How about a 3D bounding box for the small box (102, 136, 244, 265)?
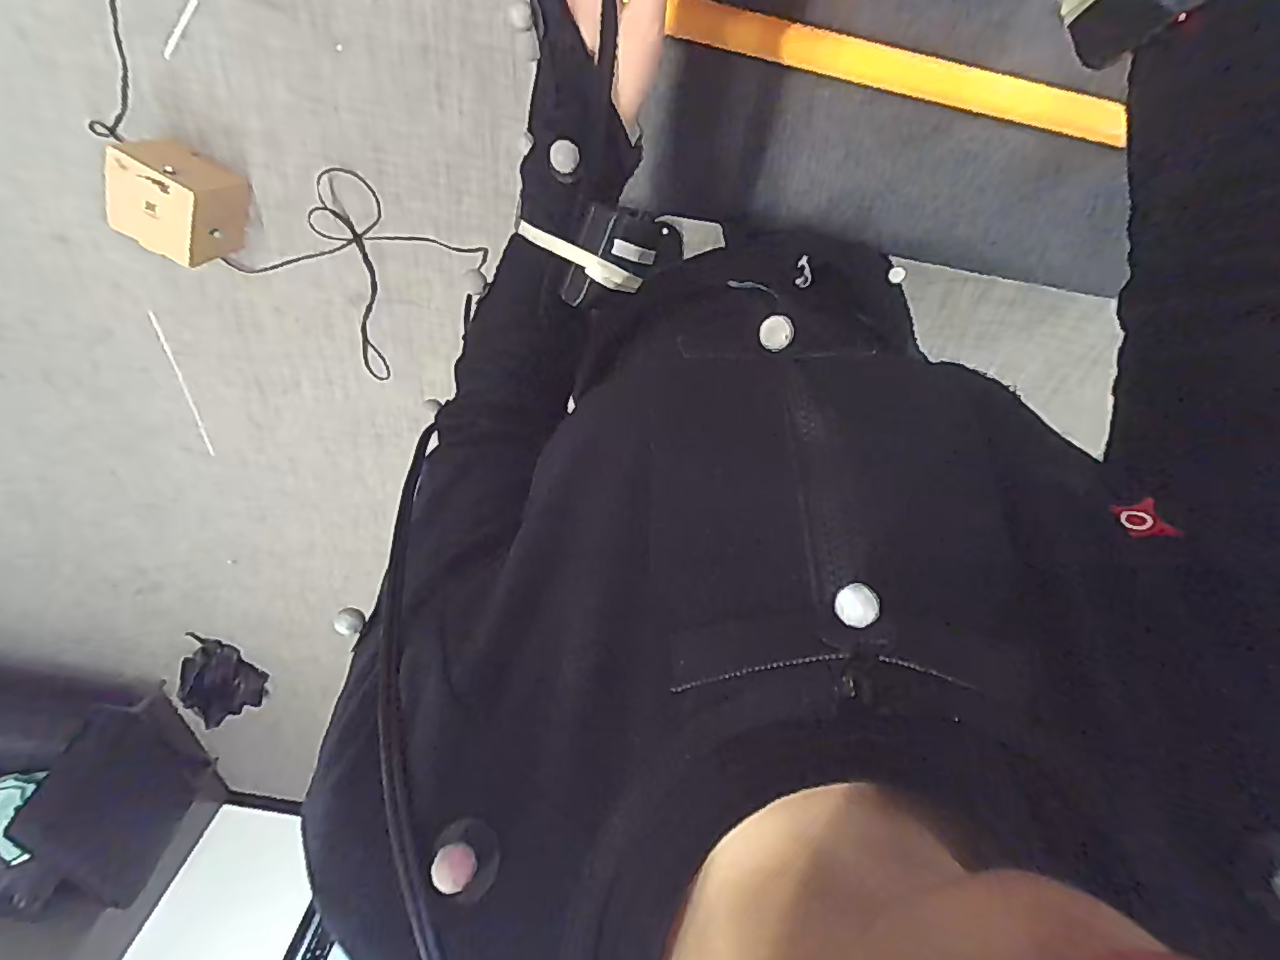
[{"bbox_3d":[-0.992,-0.602,1.160,0.168,0.176,0.179,29,124,-14],"label":"small box"}]
